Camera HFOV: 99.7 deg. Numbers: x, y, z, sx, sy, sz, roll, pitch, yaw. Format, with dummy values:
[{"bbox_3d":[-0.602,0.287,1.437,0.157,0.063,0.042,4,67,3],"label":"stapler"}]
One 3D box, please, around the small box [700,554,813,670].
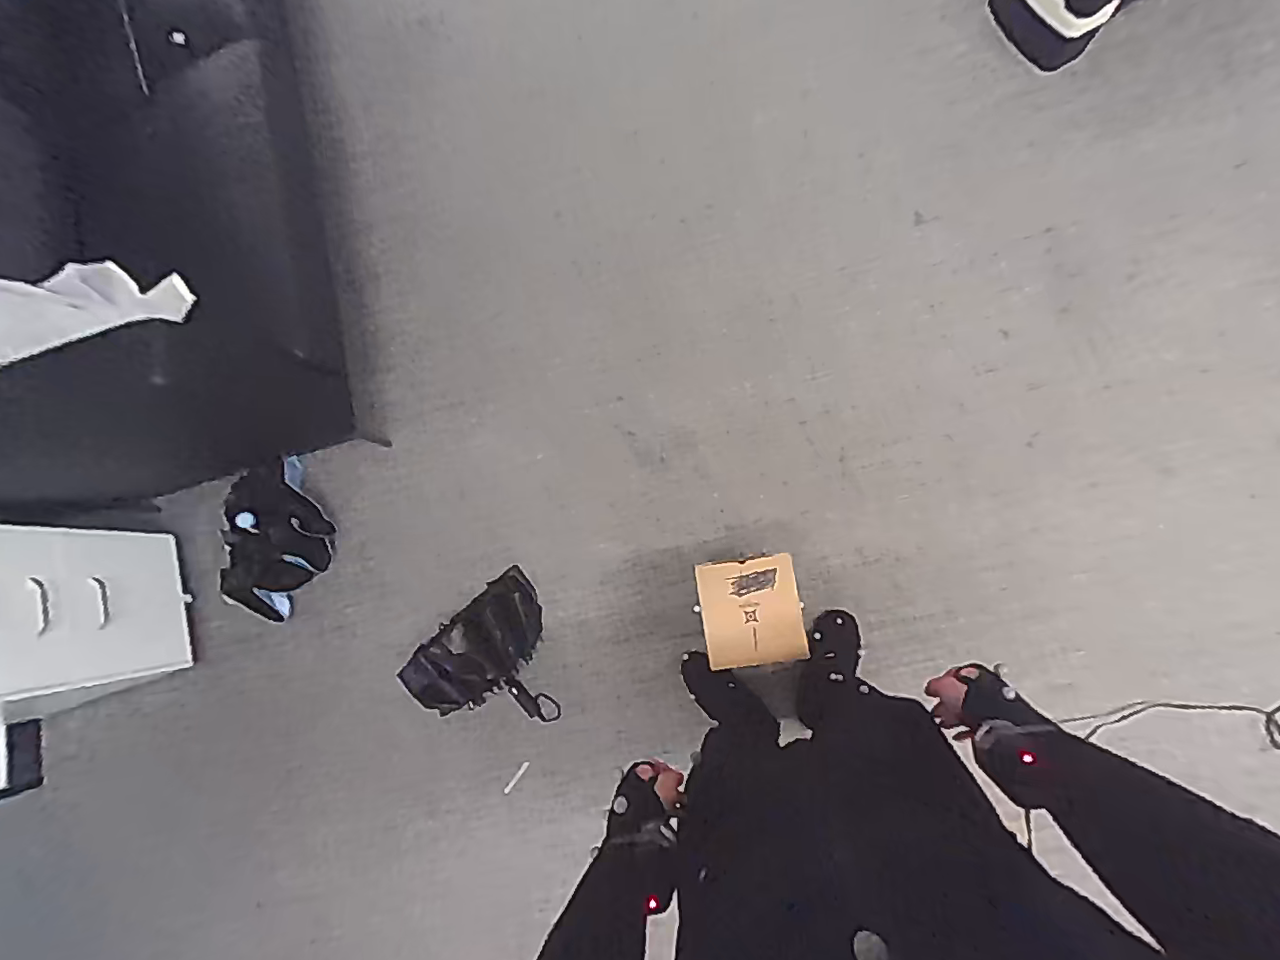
[{"bbox_3d":[0.203,0.234,0.983,0.168,0.176,0.179,-10,80,8],"label":"small box"}]
